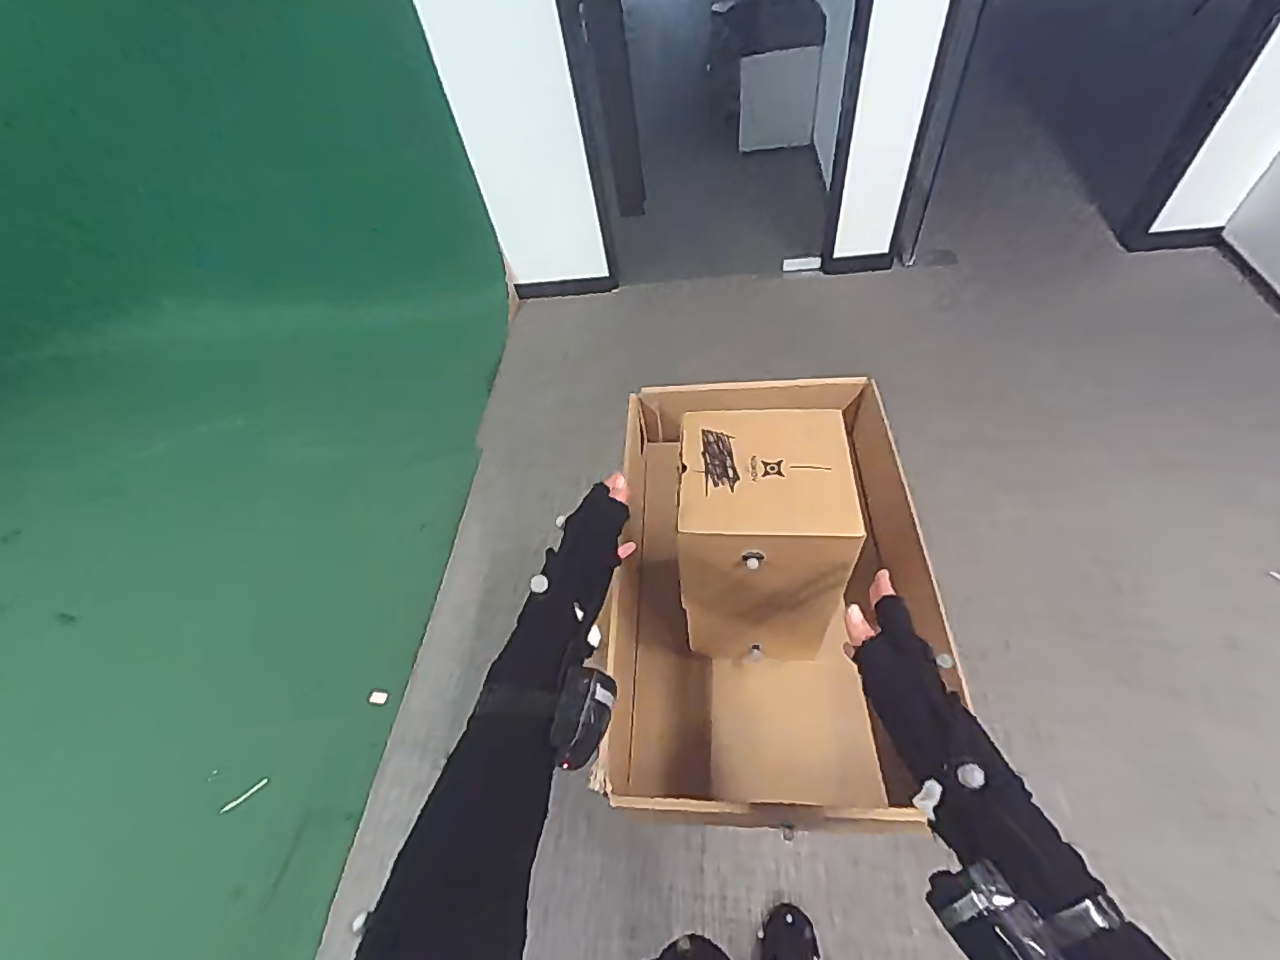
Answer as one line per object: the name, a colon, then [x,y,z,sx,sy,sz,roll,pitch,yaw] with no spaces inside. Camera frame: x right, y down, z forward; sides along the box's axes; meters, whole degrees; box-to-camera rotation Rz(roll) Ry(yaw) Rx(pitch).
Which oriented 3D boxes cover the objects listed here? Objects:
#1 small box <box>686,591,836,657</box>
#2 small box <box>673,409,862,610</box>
small box: [0.154,0.134,0.745,0.179,0.176,0.168,-1,51,7]
small box: [0.135,0.036,0.614,0.179,0.176,0.168,1,52,8]
